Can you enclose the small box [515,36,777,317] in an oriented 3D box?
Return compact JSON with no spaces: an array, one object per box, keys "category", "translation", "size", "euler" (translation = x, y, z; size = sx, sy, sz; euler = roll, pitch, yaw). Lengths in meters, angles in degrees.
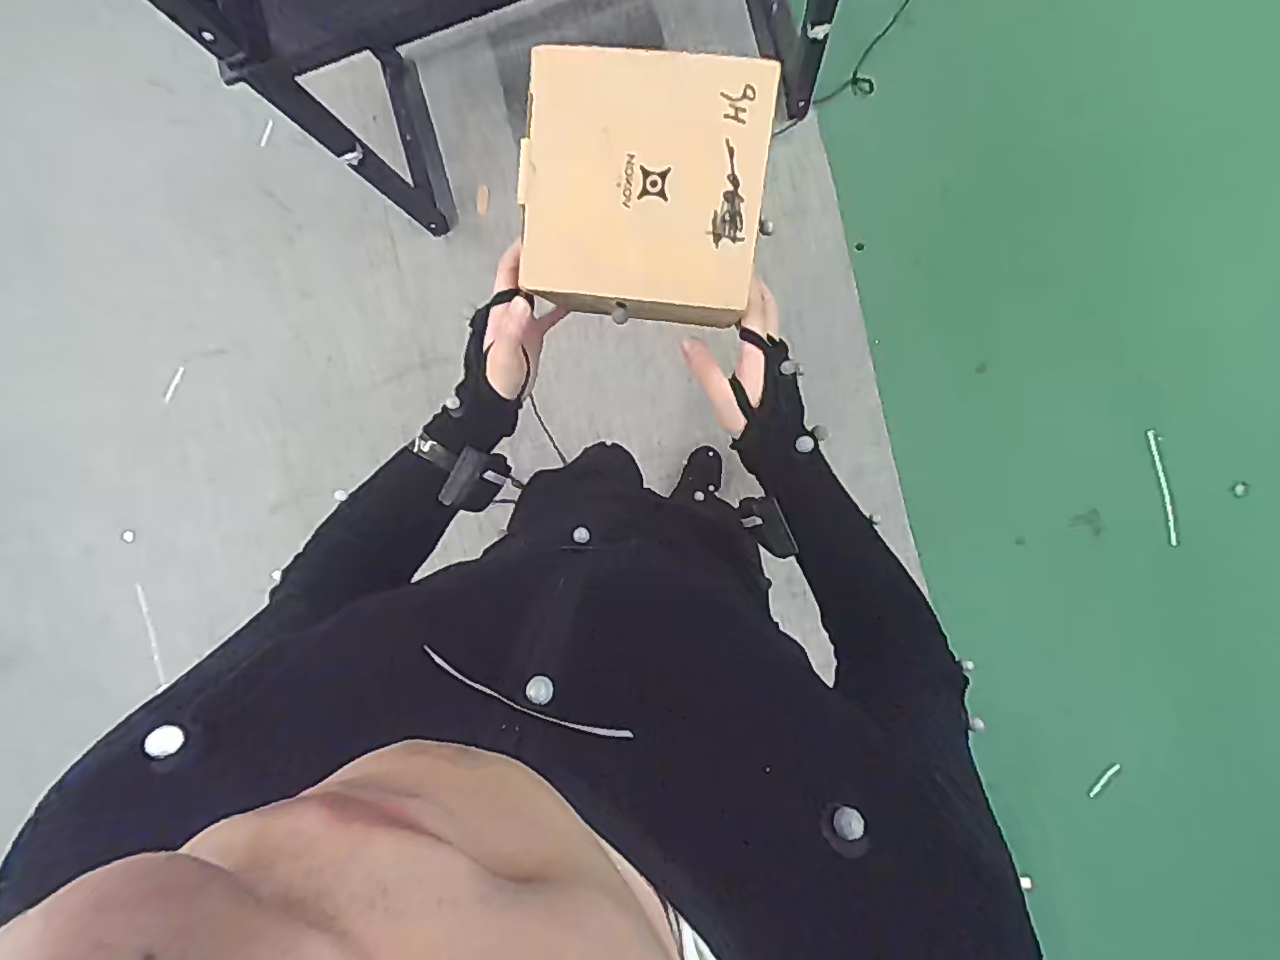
[{"category":"small box","translation":[0.009,-0.238,0.467],"size":[0.179,0.176,0.168],"euler":[7,103,6]}]
